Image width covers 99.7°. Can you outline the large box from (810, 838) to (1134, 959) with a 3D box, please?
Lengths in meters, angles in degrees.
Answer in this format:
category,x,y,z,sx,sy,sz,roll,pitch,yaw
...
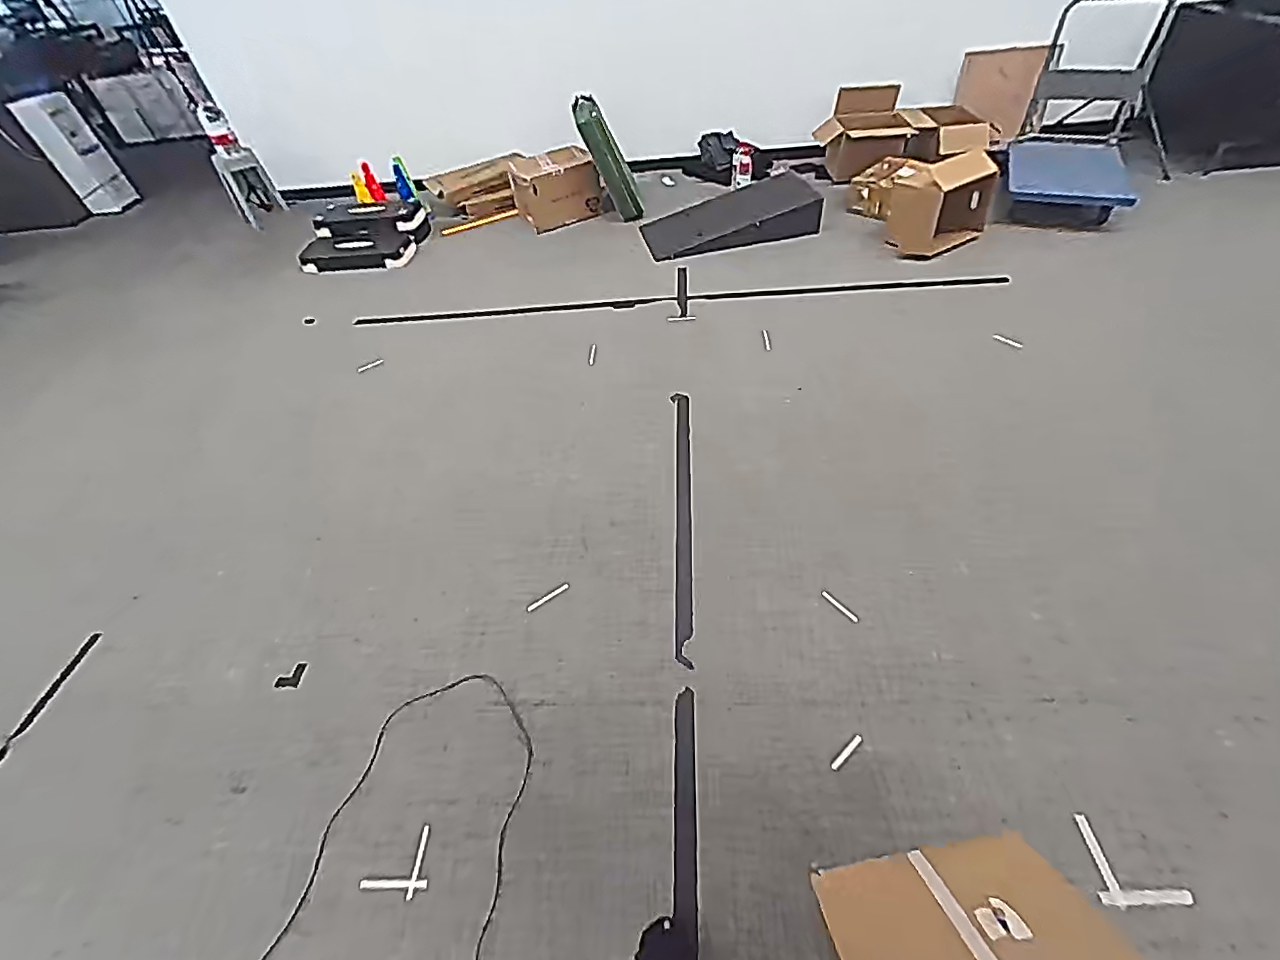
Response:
category,x,y,z,sx,sy,sz,roll,pitch,yaw
large box,0.432,0.710,0.607,0.320,0.408,0.320,-11,90,1
